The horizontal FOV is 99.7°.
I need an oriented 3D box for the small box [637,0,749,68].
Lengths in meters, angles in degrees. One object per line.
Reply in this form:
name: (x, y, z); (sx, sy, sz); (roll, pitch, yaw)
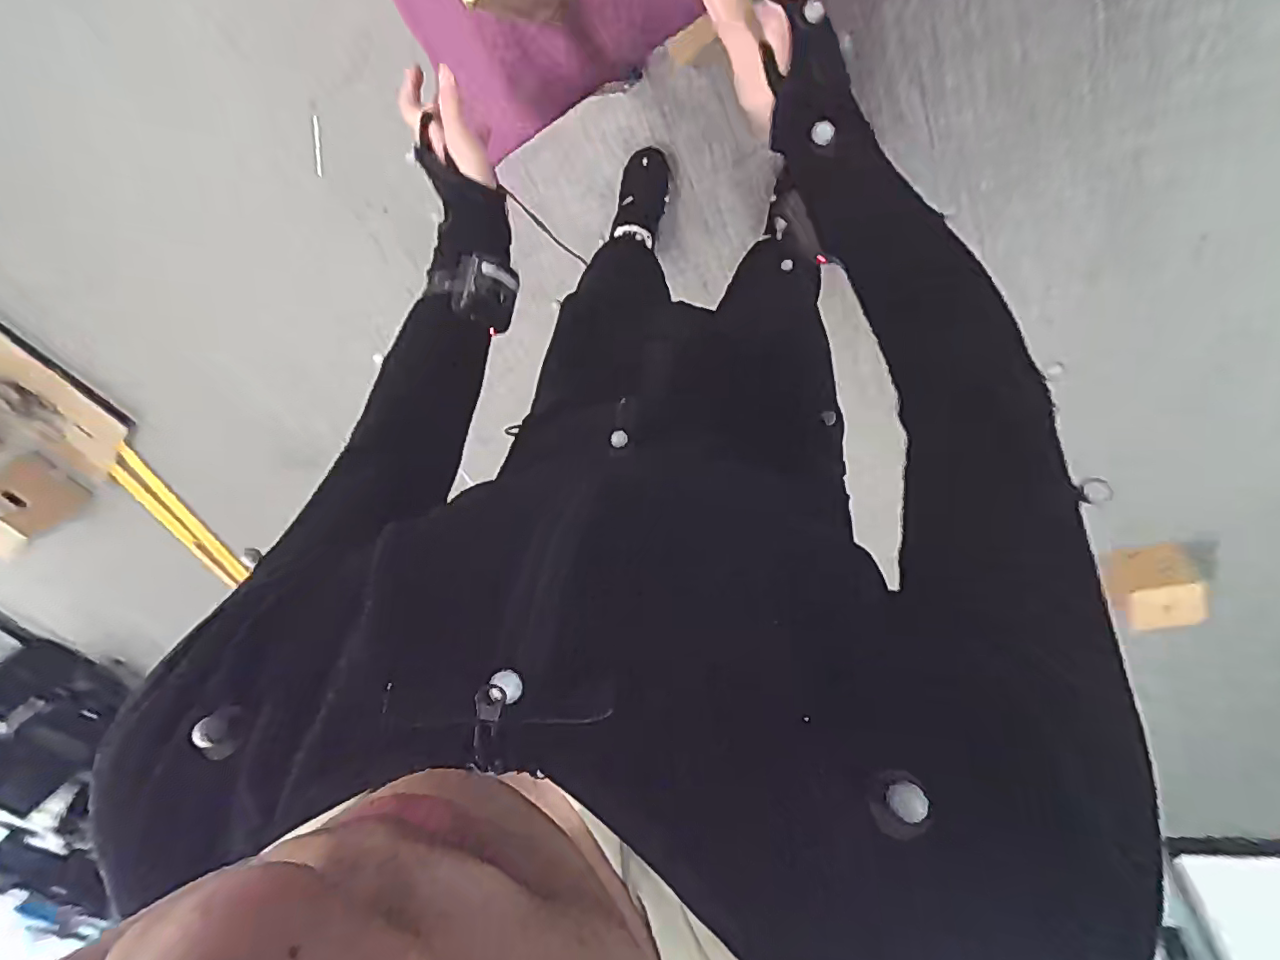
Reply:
small box: (0.097, -0.933, 1.029); (0.168, 0.176, 0.179); (-25, 117, 29)

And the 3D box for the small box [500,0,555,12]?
small box: (-0.097, -0.536, 0.447); (0.179, 0.176, 0.168); (-18, 118, 26)

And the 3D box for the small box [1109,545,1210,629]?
small box: (1.529, 0.311, 1.601); (0.168, 0.176, 0.179); (-18, 121, 25)
